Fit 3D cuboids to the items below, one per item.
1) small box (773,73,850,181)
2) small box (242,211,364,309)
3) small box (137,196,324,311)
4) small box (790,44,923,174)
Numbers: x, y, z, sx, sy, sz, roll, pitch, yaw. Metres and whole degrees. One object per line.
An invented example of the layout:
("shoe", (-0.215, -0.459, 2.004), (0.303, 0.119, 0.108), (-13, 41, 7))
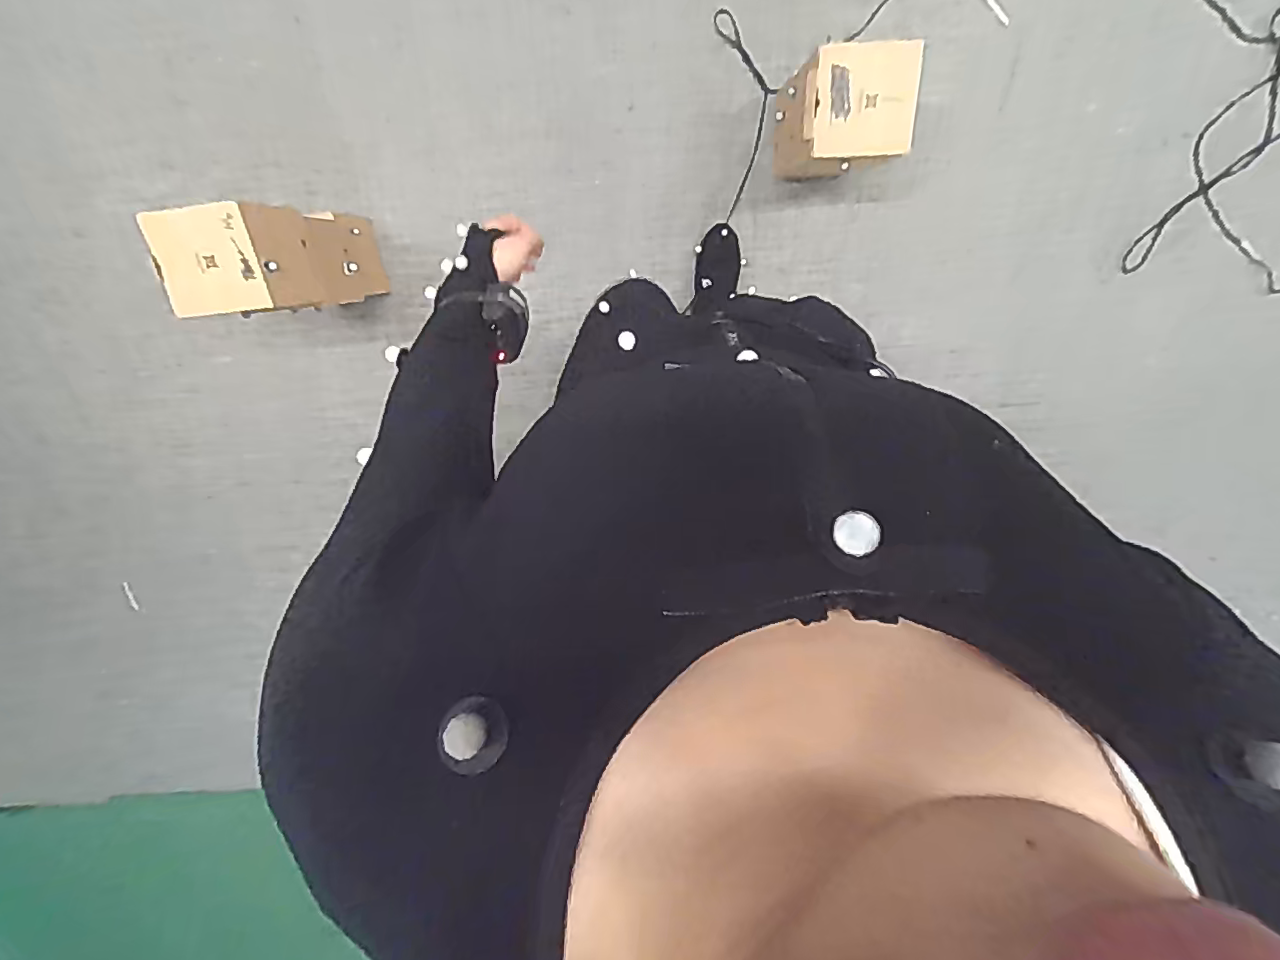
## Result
("small box", (0.385, -0.739, 1.142), (0.179, 0.176, 0.168), (-2, 111, 1))
("small box", (-0.712, -0.450, 1.118), (0.179, 0.176, 0.168), (-5, 112, 2))
("small box", (-0.711, -0.398, 0.962), (0.179, 0.176, 0.168), (-5, 112, 4))
("small box", (0.383, -0.668, 0.993), (0.179, 0.176, 0.168), (-2, 112, 0))
